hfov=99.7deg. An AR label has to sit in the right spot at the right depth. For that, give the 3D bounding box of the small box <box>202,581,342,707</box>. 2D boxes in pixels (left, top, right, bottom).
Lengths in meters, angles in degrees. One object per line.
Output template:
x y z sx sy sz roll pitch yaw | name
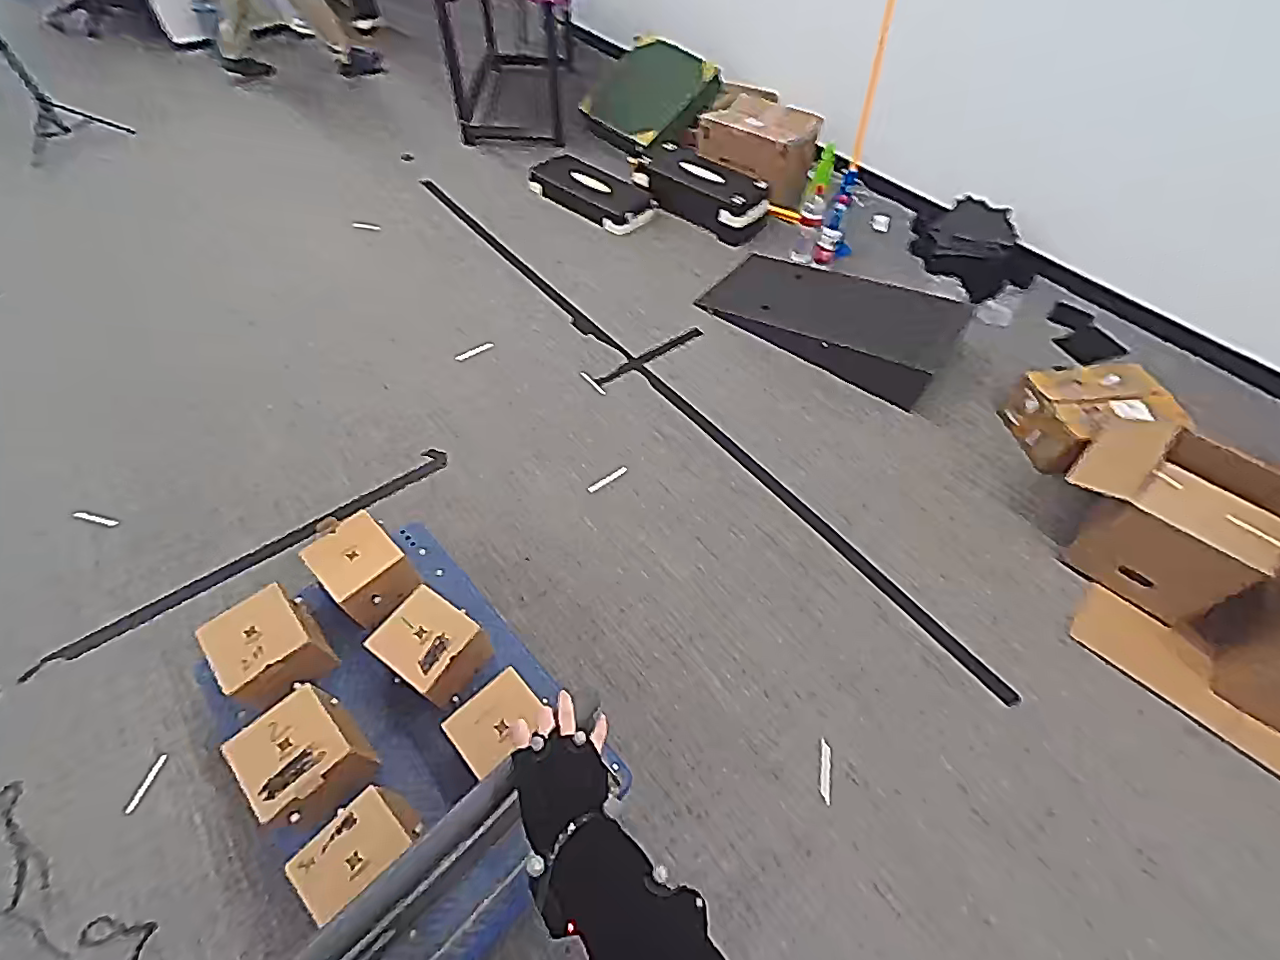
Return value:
-0.788 0.360 1.172 0.168 0.176 0.179 -36 65 -24 | small box

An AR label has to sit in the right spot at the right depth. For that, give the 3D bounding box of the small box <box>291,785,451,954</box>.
-0.467 0.683 0.966 0.179 0.176 0.168 38 61 21 | small box

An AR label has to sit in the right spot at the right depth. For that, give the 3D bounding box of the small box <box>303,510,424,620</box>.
-0.647 0.210 1.286 0.179 0.176 0.168 38 62 21 | small box

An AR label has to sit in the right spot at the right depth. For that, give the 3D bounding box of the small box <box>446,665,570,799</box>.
-0.257 0.515 1.096 0.168 0.176 0.179 -37 64 -25 | small box
